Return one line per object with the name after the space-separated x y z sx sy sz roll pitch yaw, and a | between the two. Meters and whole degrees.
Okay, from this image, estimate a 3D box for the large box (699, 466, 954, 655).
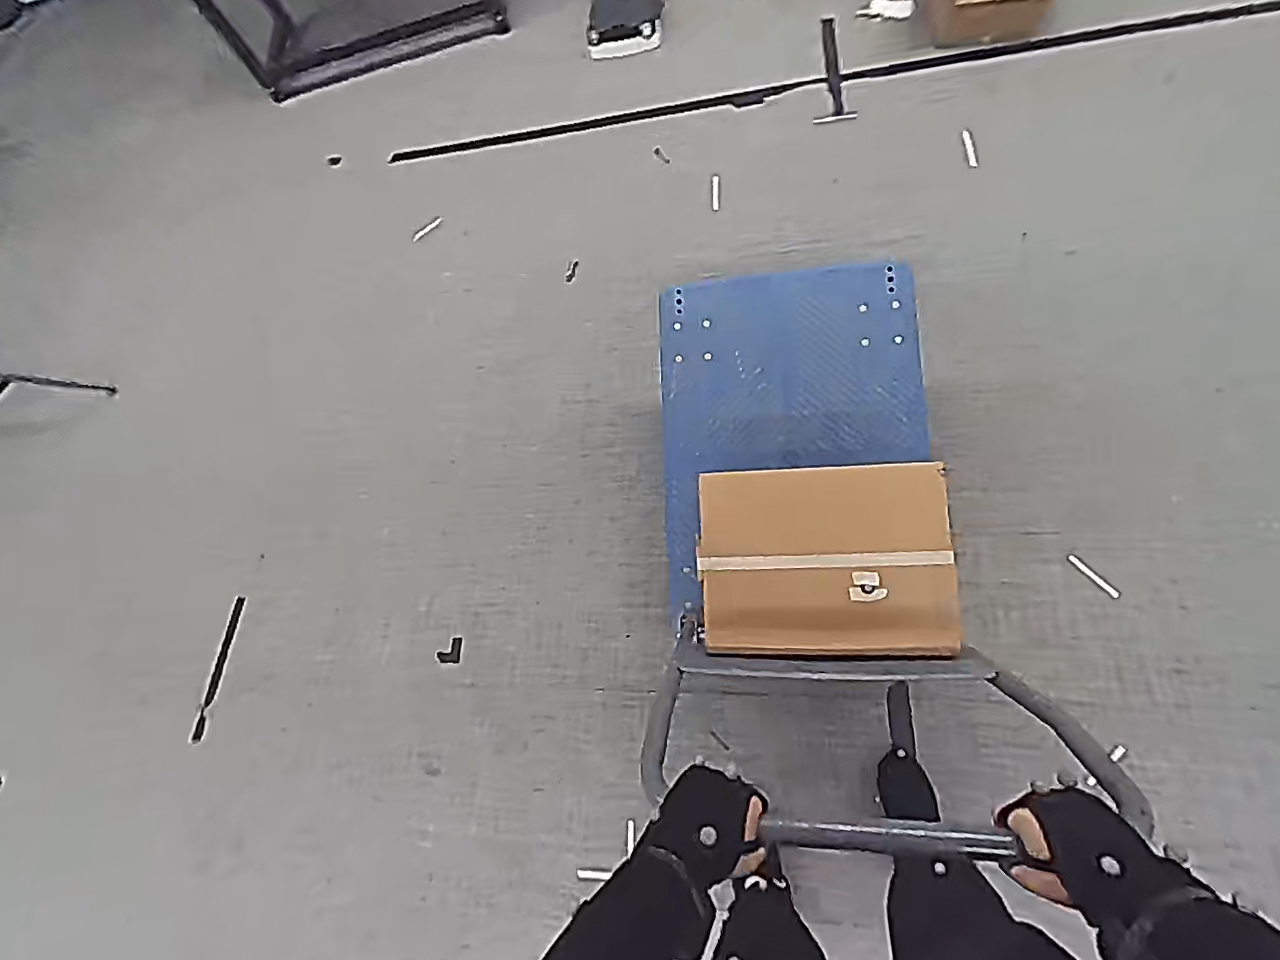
0.332 0.153 1.069 0.408 0.320 0.320 -3 85 9 | large box
